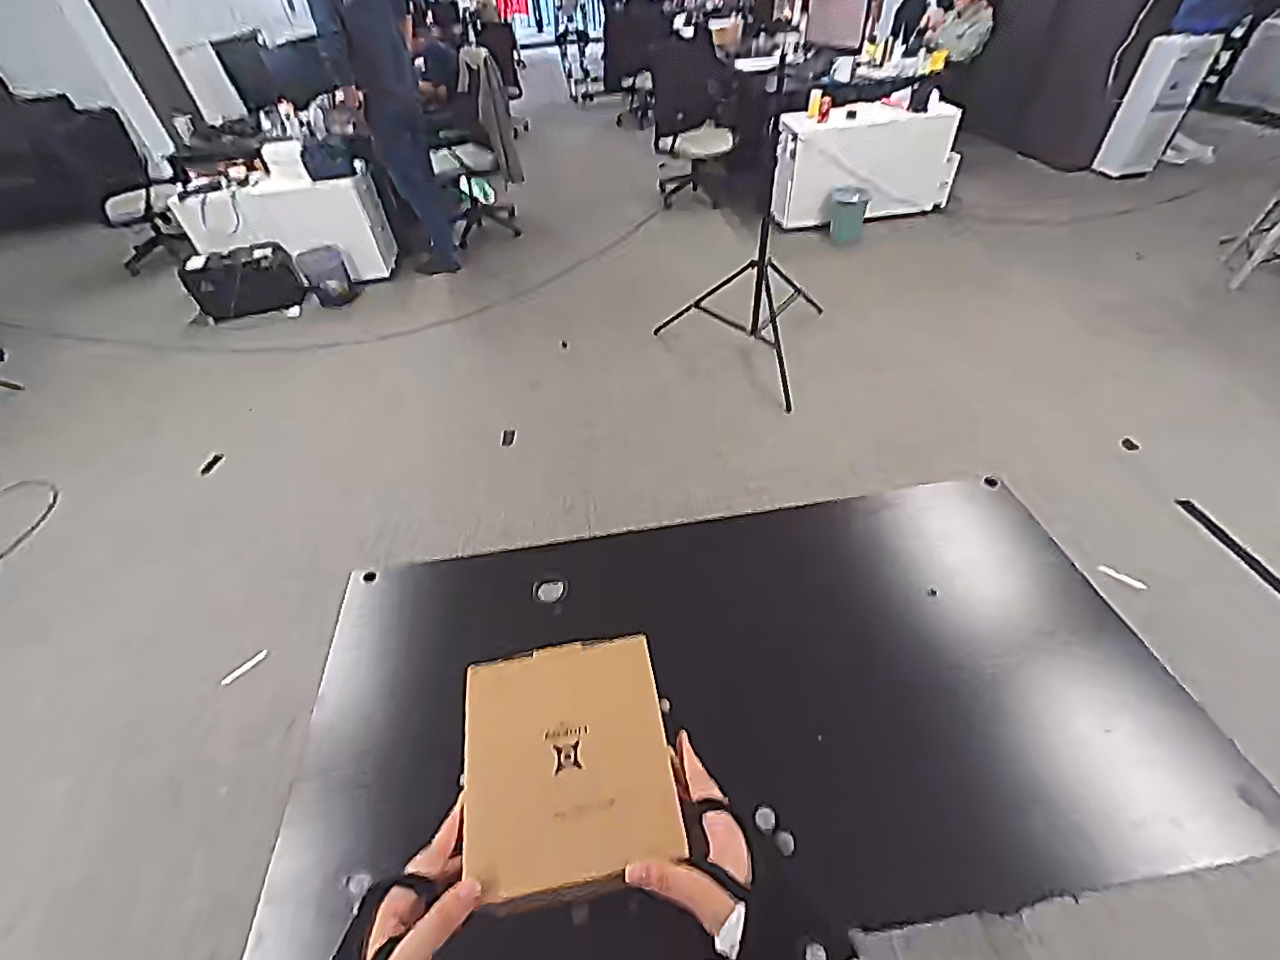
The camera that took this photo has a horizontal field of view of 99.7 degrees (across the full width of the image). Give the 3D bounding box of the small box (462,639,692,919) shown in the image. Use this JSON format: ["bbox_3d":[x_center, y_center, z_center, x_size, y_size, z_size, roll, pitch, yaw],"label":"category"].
[{"bbox_3d":[-0.056,0.273,0.493,0.168,0.176,0.179,-9,50,-6],"label":"small box"}]
